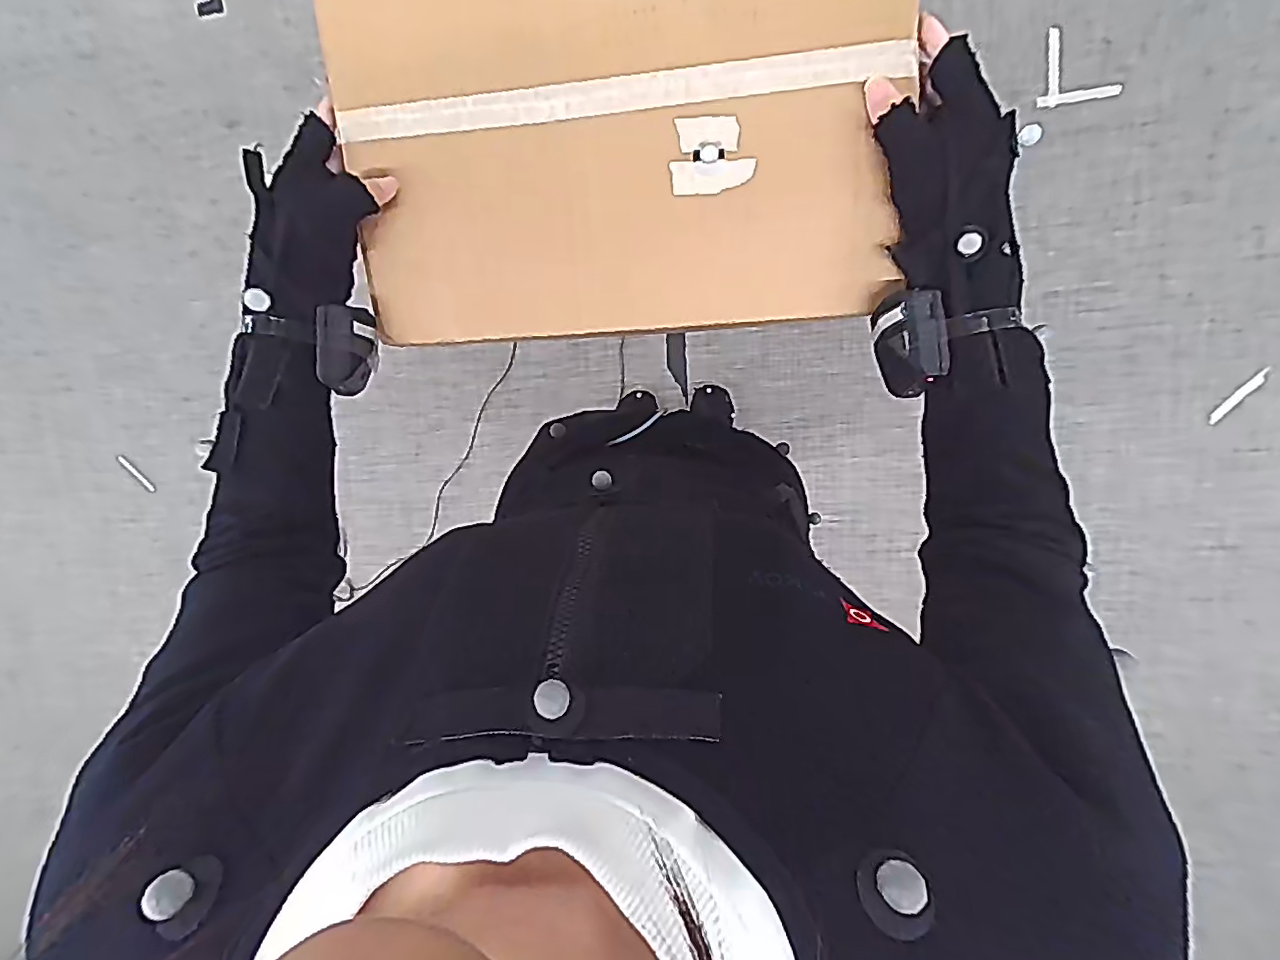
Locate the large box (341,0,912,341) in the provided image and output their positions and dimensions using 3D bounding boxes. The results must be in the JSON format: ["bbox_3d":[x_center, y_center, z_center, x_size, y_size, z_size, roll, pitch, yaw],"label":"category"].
[{"bbox_3d":[-0.001,-0.312,0.532,0.408,0.320,0.320,-2,105,6],"label":"large box"}]
